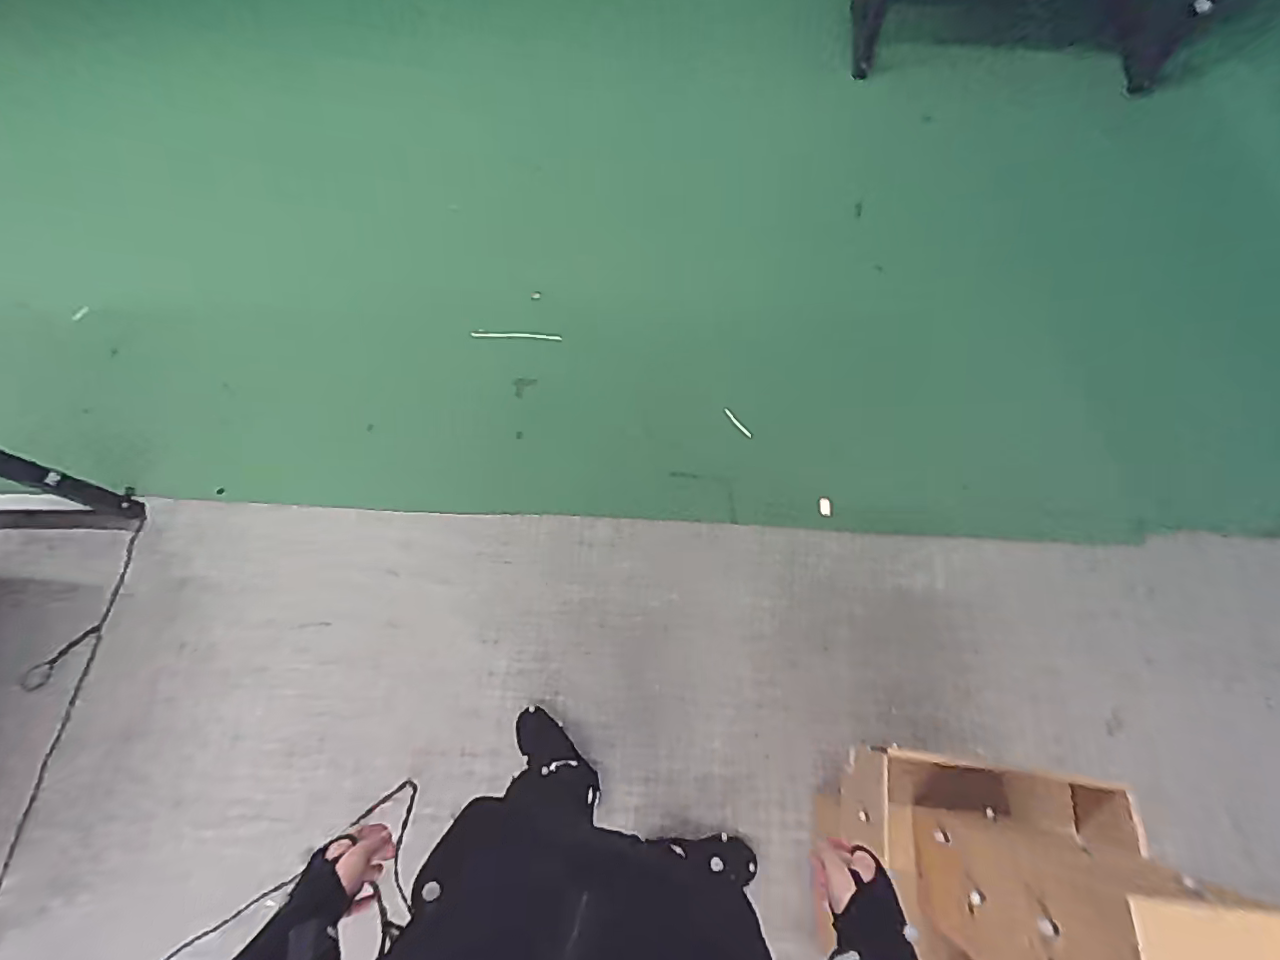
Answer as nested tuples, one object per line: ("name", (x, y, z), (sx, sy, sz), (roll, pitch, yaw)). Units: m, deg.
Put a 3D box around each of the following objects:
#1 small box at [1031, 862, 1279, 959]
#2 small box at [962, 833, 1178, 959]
("small box", (0.547, 0.511, 0.546), (0.179, 0.176, 0.168), (5, 67, 4))
("small box", (0.554, 0.573, 0.696), (0.179, 0.176, 0.168), (5, 67, 4))
